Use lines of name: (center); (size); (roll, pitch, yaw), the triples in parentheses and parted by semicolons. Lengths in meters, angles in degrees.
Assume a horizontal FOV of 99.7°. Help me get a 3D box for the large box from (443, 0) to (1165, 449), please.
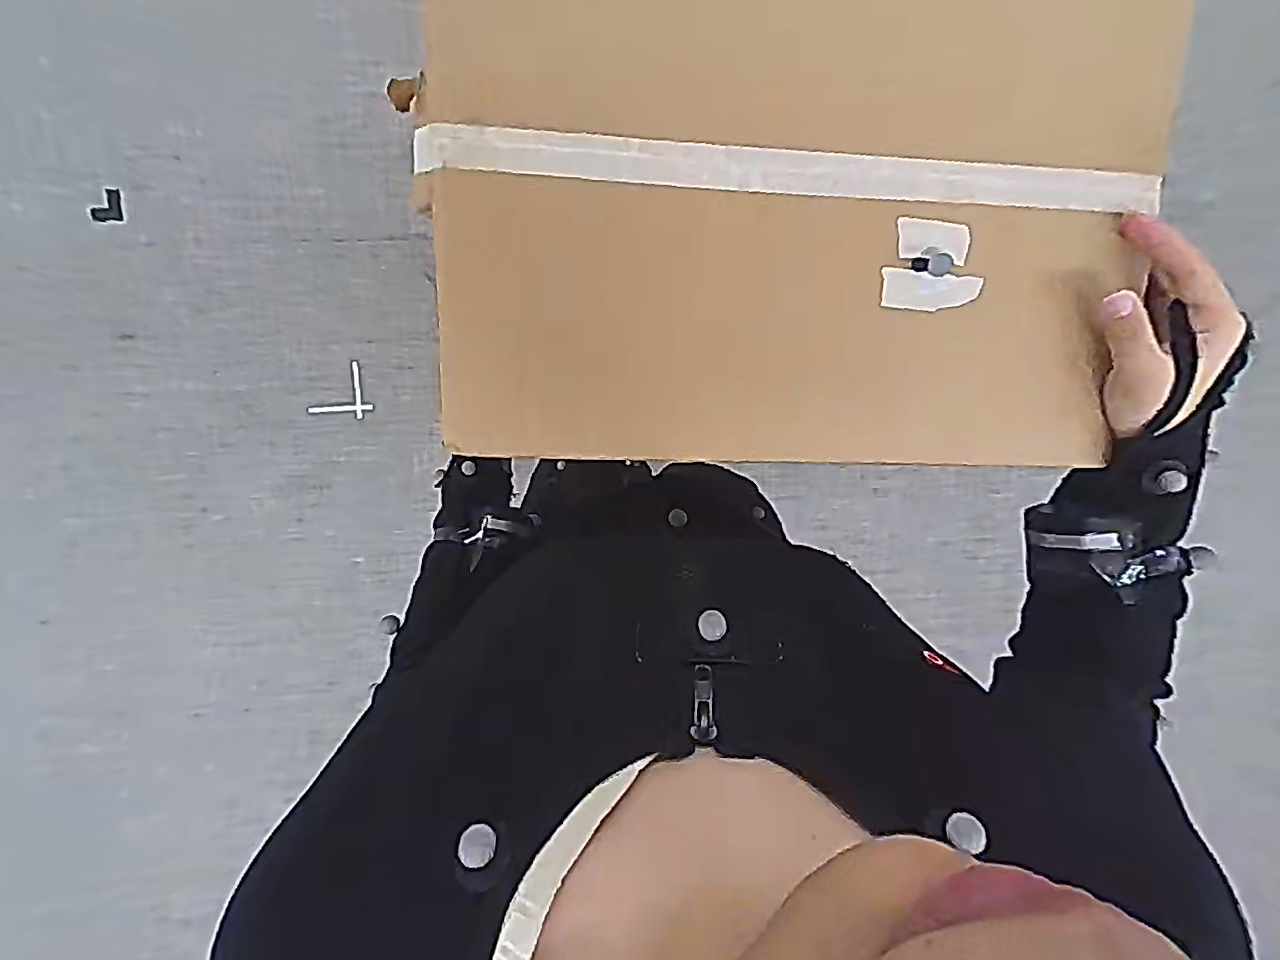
large box: (0.079, -0.197, 0.447); (0.408, 0.320, 0.320); (1, 101, -7)
